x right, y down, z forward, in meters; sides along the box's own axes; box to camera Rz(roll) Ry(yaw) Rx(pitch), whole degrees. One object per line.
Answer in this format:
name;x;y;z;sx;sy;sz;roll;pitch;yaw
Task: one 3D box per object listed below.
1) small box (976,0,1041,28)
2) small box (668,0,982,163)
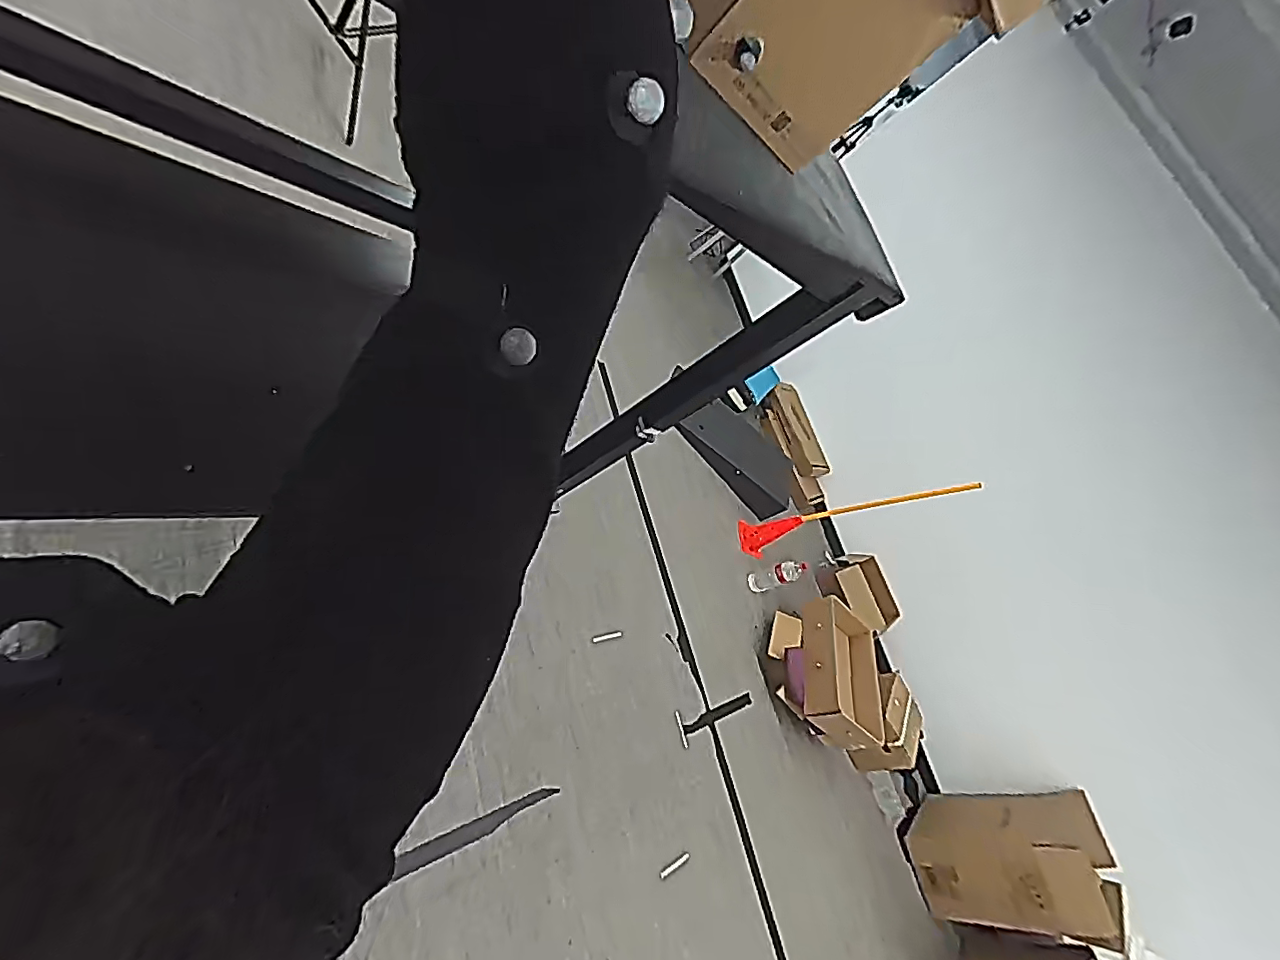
small box;0.251;-0.440;0.323;0.168;0.176;0.179;1;65;-51
small box;0.129;-0.403;0.428;0.168;0.176;0.179;8;58;-47
